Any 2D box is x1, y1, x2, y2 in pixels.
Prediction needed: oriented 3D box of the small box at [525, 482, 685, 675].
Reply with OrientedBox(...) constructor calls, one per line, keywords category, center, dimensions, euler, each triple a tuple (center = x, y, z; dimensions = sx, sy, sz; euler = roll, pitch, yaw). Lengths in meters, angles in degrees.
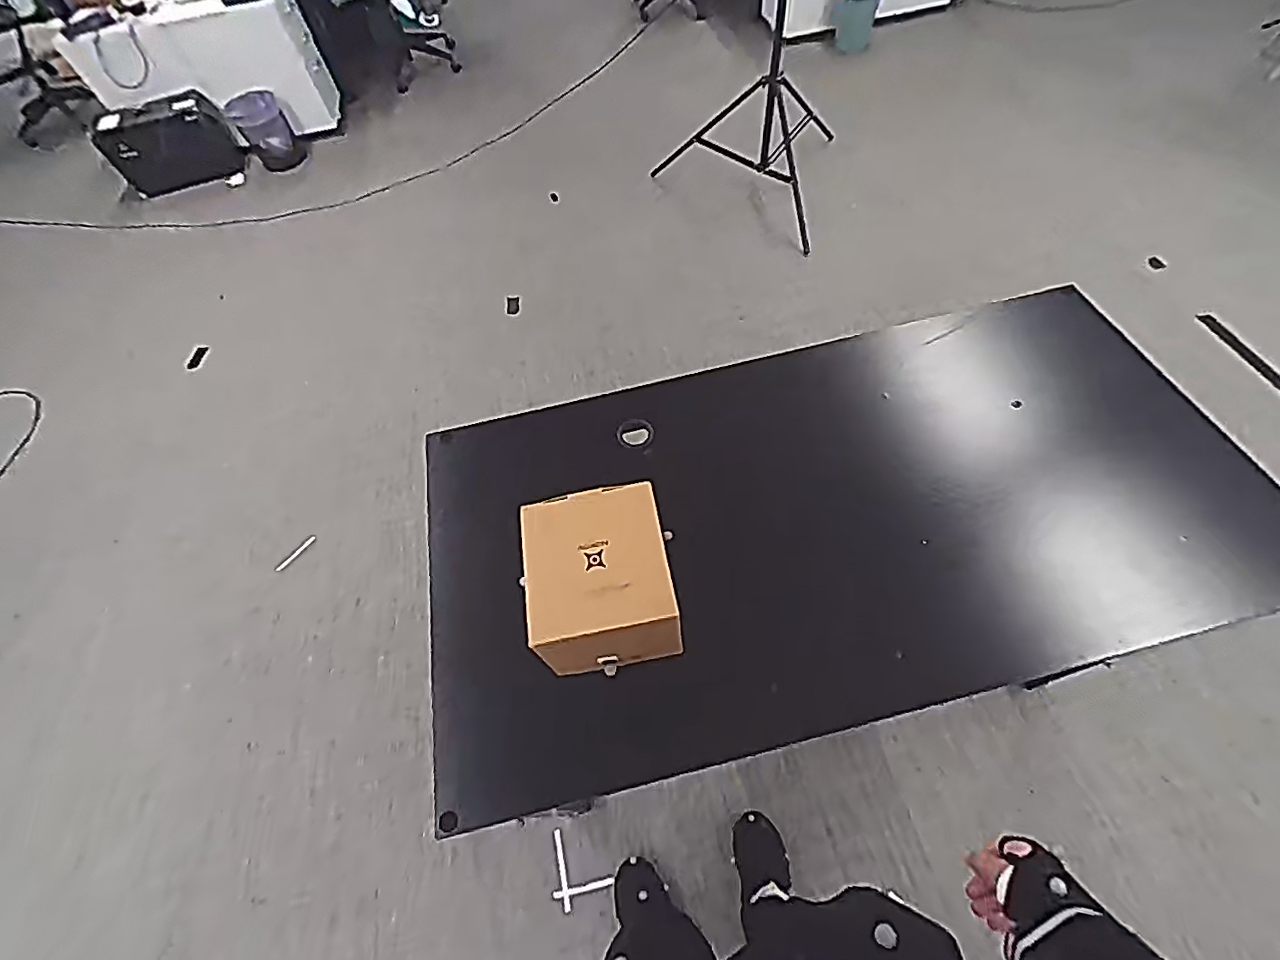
OrientedBox(category="small box", center=(-0.041, 0.130, 0.687), dimensions=(0.168, 0.176, 0.179), euler=(-12, 59, 0))
